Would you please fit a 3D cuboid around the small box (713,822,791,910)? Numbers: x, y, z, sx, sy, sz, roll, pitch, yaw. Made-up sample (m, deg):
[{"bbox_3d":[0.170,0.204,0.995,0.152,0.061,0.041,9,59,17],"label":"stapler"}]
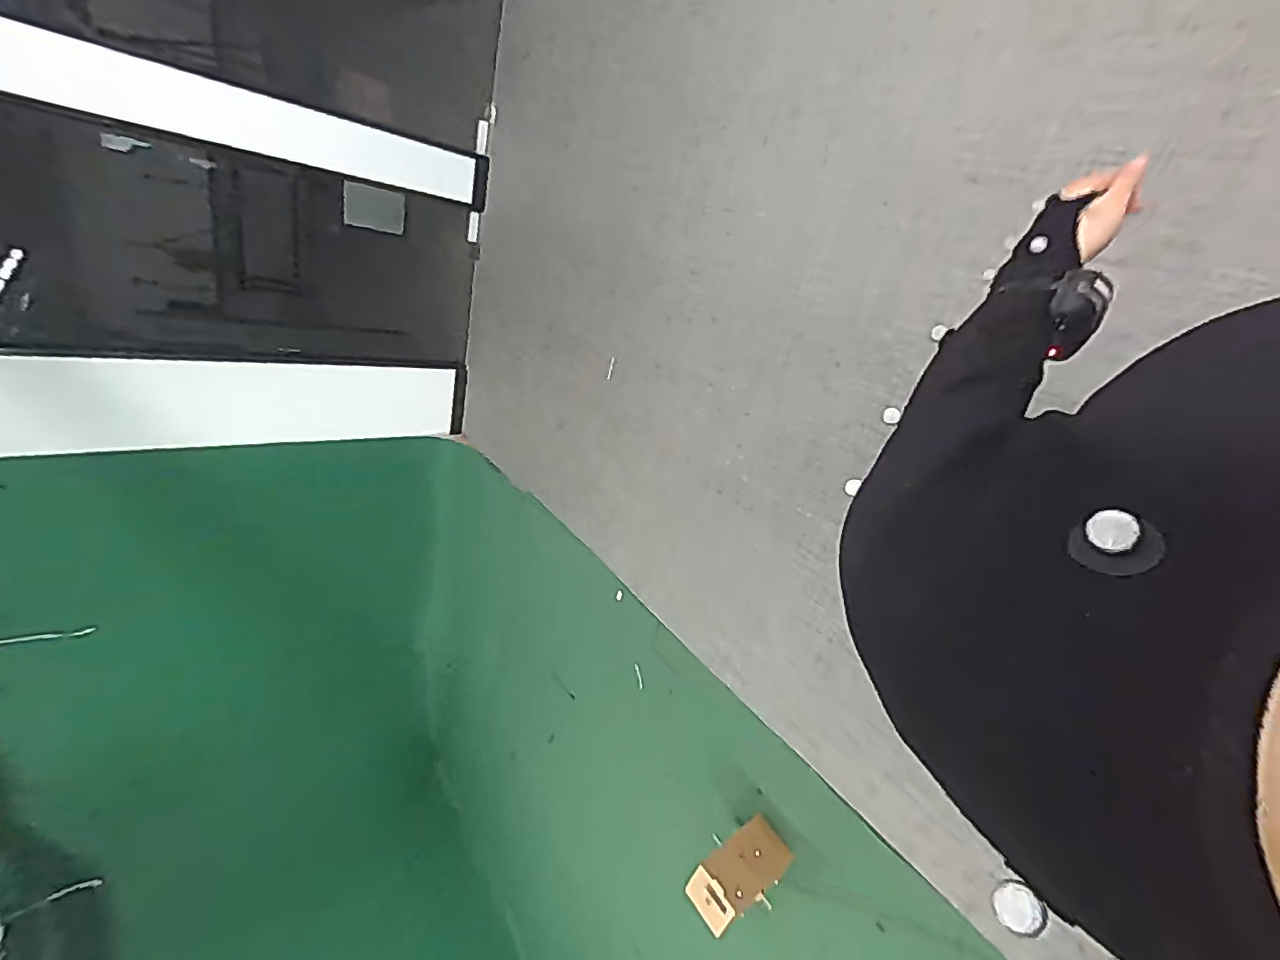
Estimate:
[{"bbox_3d":[0.398,1.361,1.923,0.179,0.176,0.168,41,124,38],"label":"small box"}]
